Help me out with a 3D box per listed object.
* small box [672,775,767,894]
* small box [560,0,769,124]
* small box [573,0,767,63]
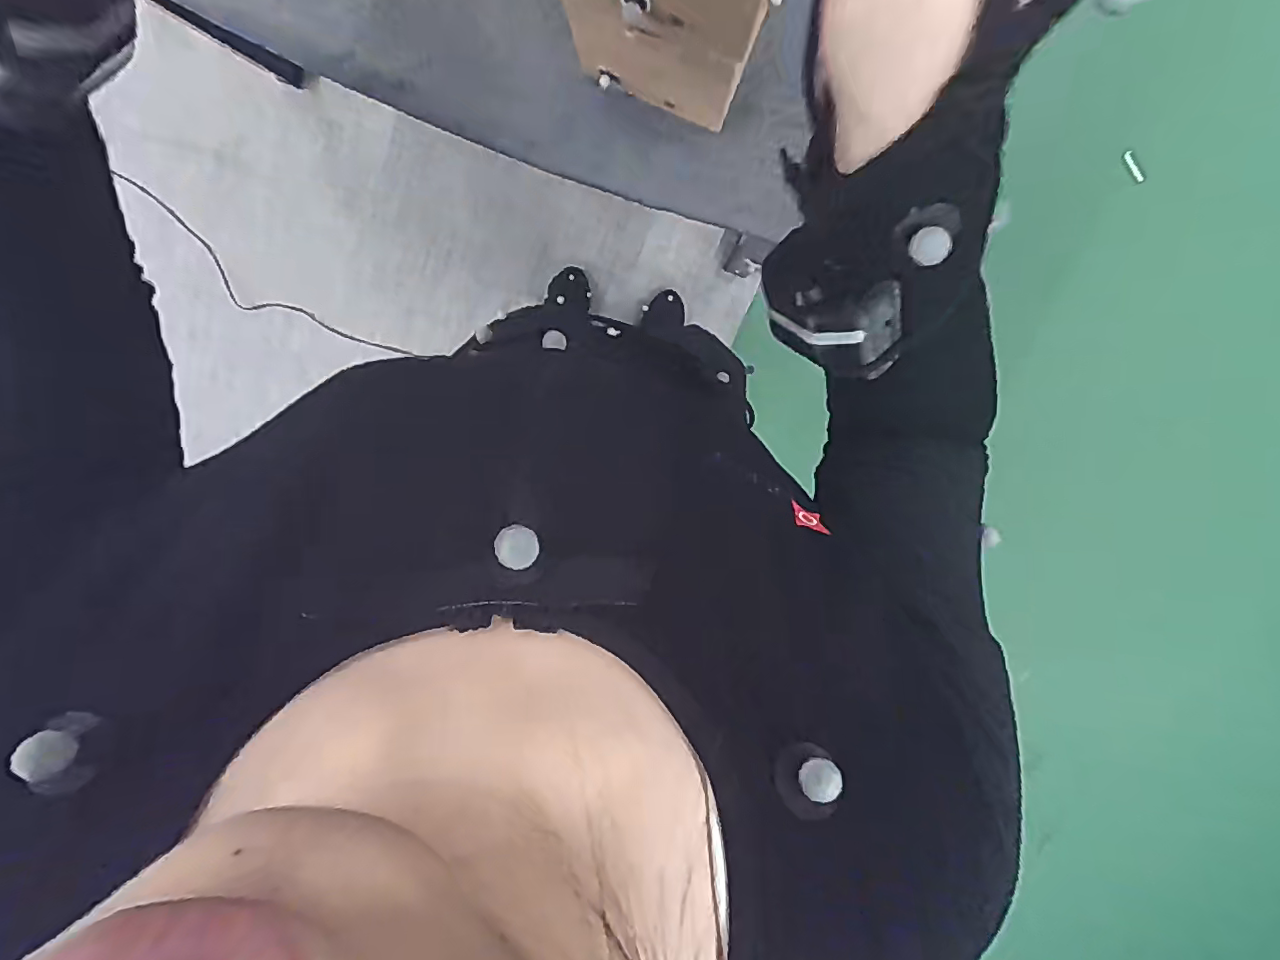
[{"bbox_3d":[0.193,0.890,1.369,0.179,0.176,0.168,25,108,-7],"label":"small box"},{"bbox_3d":[0.040,-0.475,0.503,0.168,0.176,0.179,22,104,-4],"label":"small box"},{"bbox_3d":[0.034,-0.427,0.348,0.168,0.176,0.179,19,106,-3],"label":"small box"}]
